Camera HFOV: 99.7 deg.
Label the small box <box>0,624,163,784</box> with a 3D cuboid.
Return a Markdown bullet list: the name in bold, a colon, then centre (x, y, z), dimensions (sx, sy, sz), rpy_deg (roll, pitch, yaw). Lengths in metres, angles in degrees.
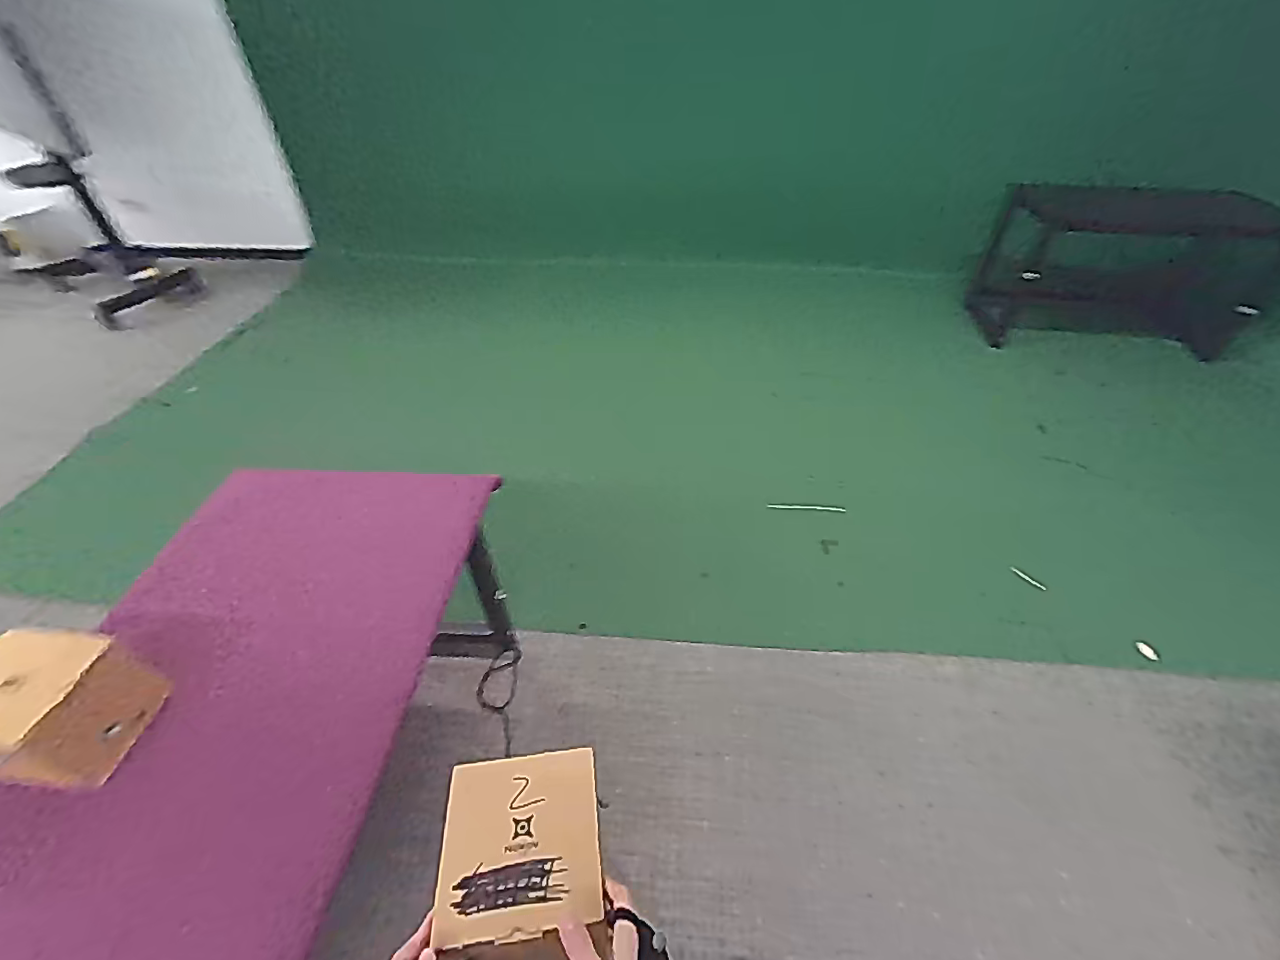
- **small box**: centre (-0.905, 0.342, 0.823), dimensions (0.179, 0.176, 0.168), rpy_deg (5, 43, 2)
